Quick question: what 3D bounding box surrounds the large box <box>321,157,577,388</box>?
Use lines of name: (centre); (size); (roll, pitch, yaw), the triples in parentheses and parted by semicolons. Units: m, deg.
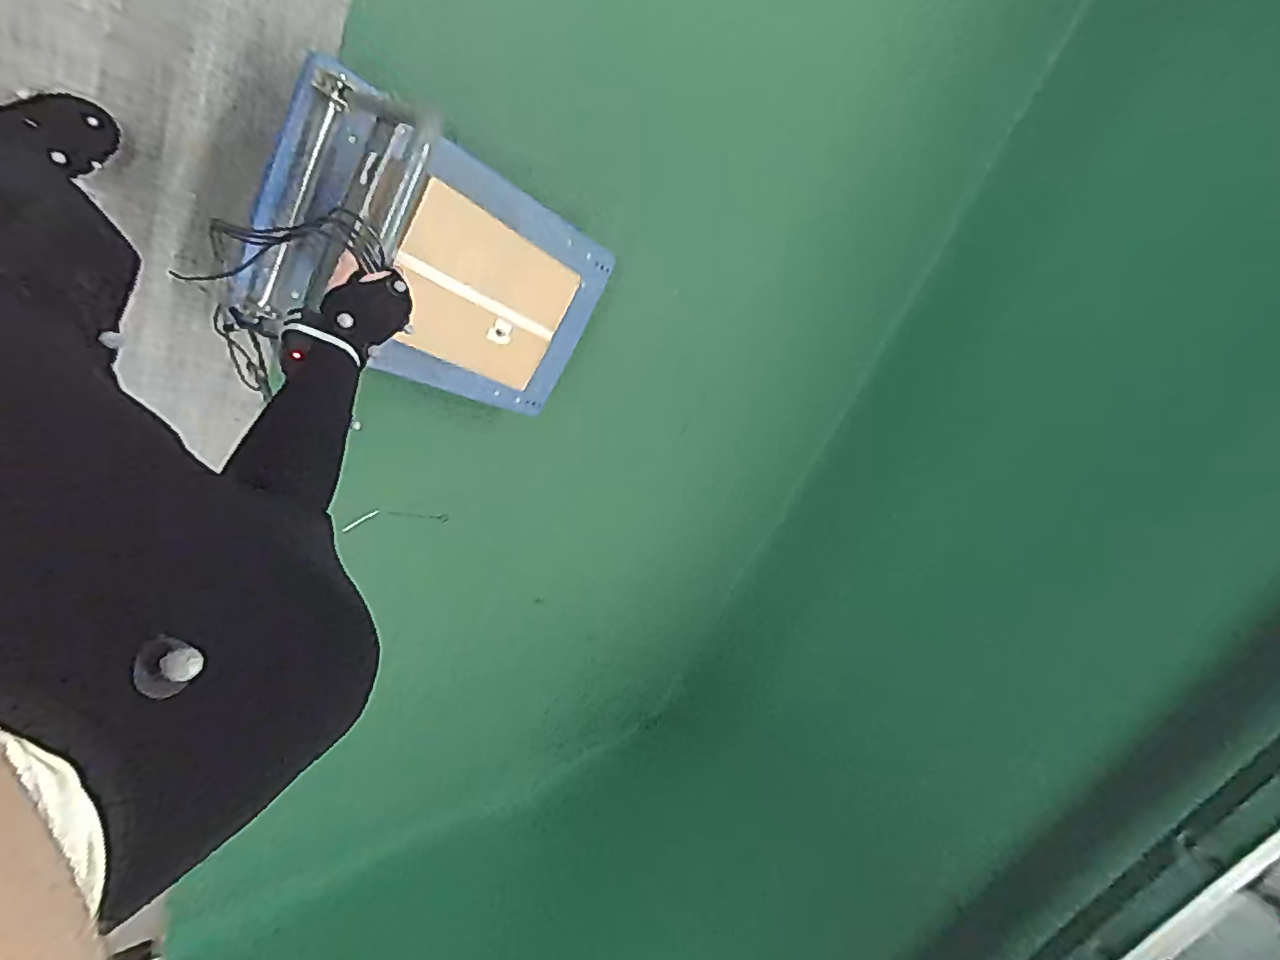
large box: (-0.437, -0.463, 1.250); (0.408, 0.320, 0.320); (17, 108, -52)
